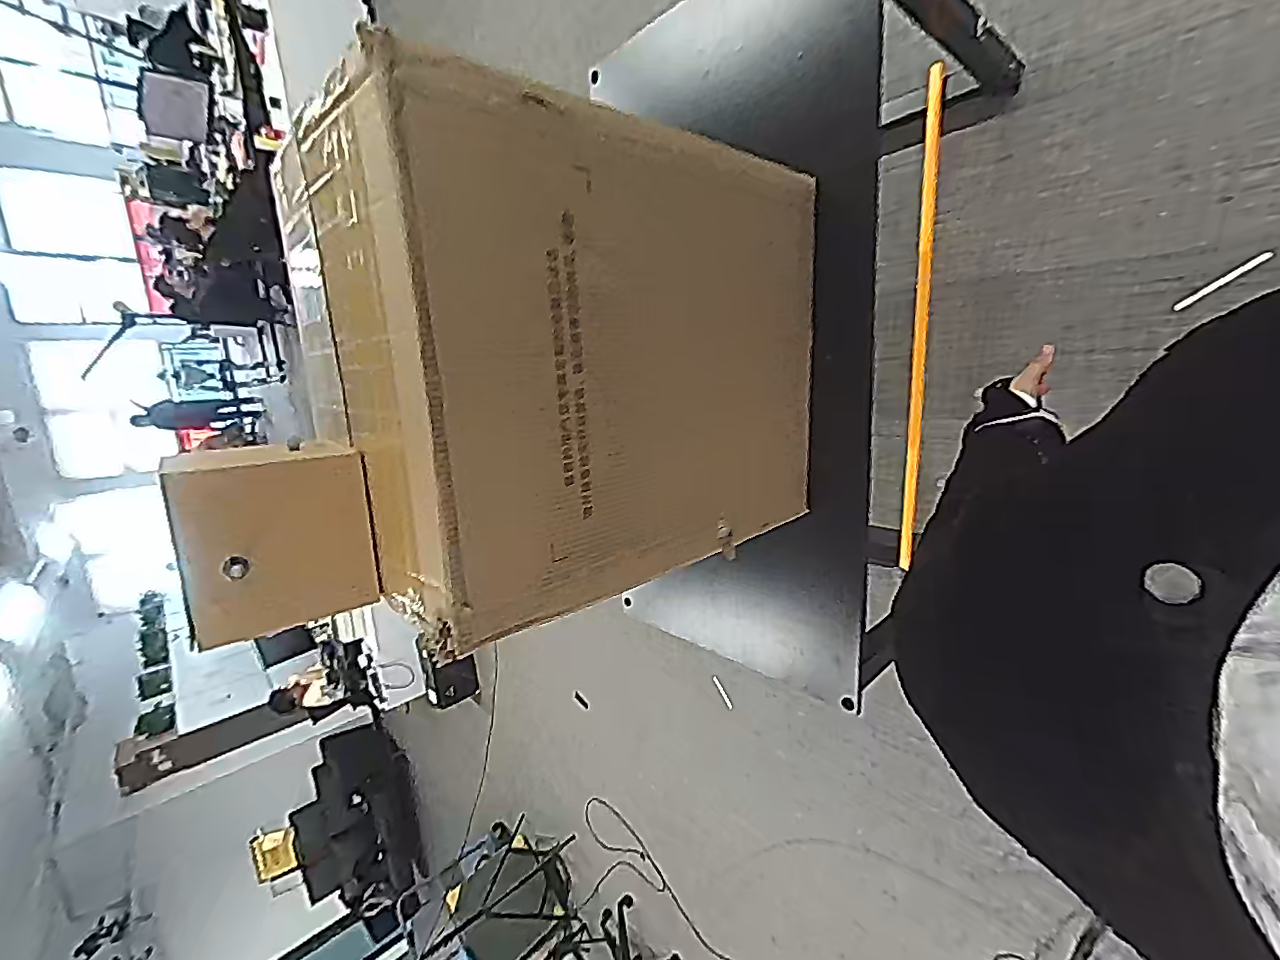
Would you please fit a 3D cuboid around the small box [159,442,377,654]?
[{"bbox_3d":[-0.409,0.059,0.606,0.168,0.176,0.179,12,108,48],"label":"small box"}]
